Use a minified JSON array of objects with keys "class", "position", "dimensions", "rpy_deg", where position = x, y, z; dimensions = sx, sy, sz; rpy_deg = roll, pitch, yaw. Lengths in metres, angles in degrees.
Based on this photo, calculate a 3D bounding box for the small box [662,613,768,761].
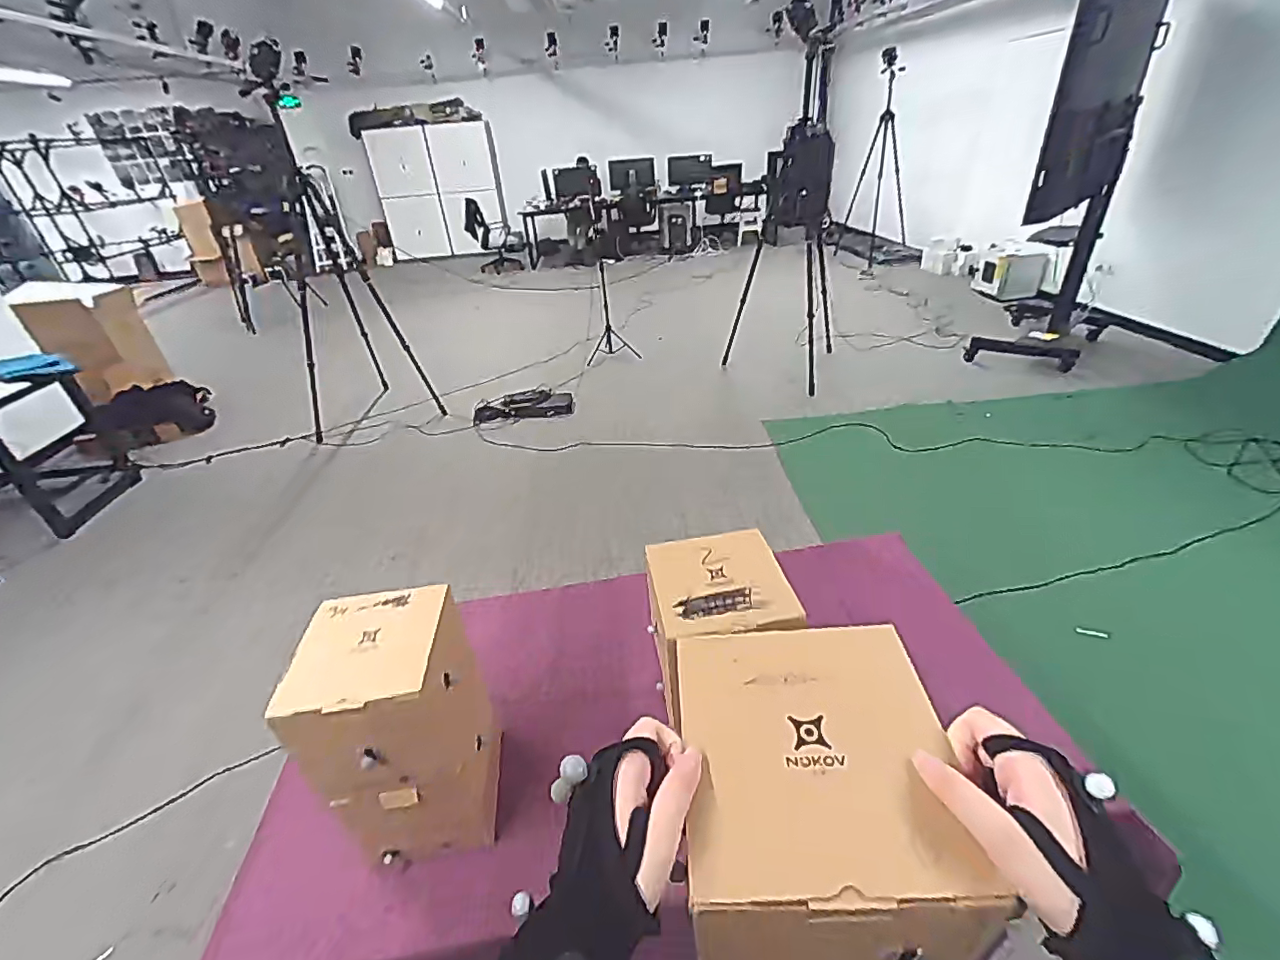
[{"class":"small box","position":[0.127,0.330,0.814],"dimensions":[0.168,0.176,0.179],"rpy_deg":[-8,33,-2]}]

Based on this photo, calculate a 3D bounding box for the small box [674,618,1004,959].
[{"class":"small box","position":[0.115,0.226,0.390],"dimensions":[0.168,0.176,0.179],"rpy_deg":[-5,35,4]}]

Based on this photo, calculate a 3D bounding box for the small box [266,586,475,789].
[{"class":"small box","position":[-0.317,0.263,0.683],"dimensions":[0.168,0.176,0.179],"rpy_deg":[-7,34,-4]}]

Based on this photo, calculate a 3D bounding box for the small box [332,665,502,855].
[{"class":"small box","position":[-0.299,0.401,0.772],"dimensions":[0.168,0.176,0.179],"rpy_deg":[-8,32,-5]}]
